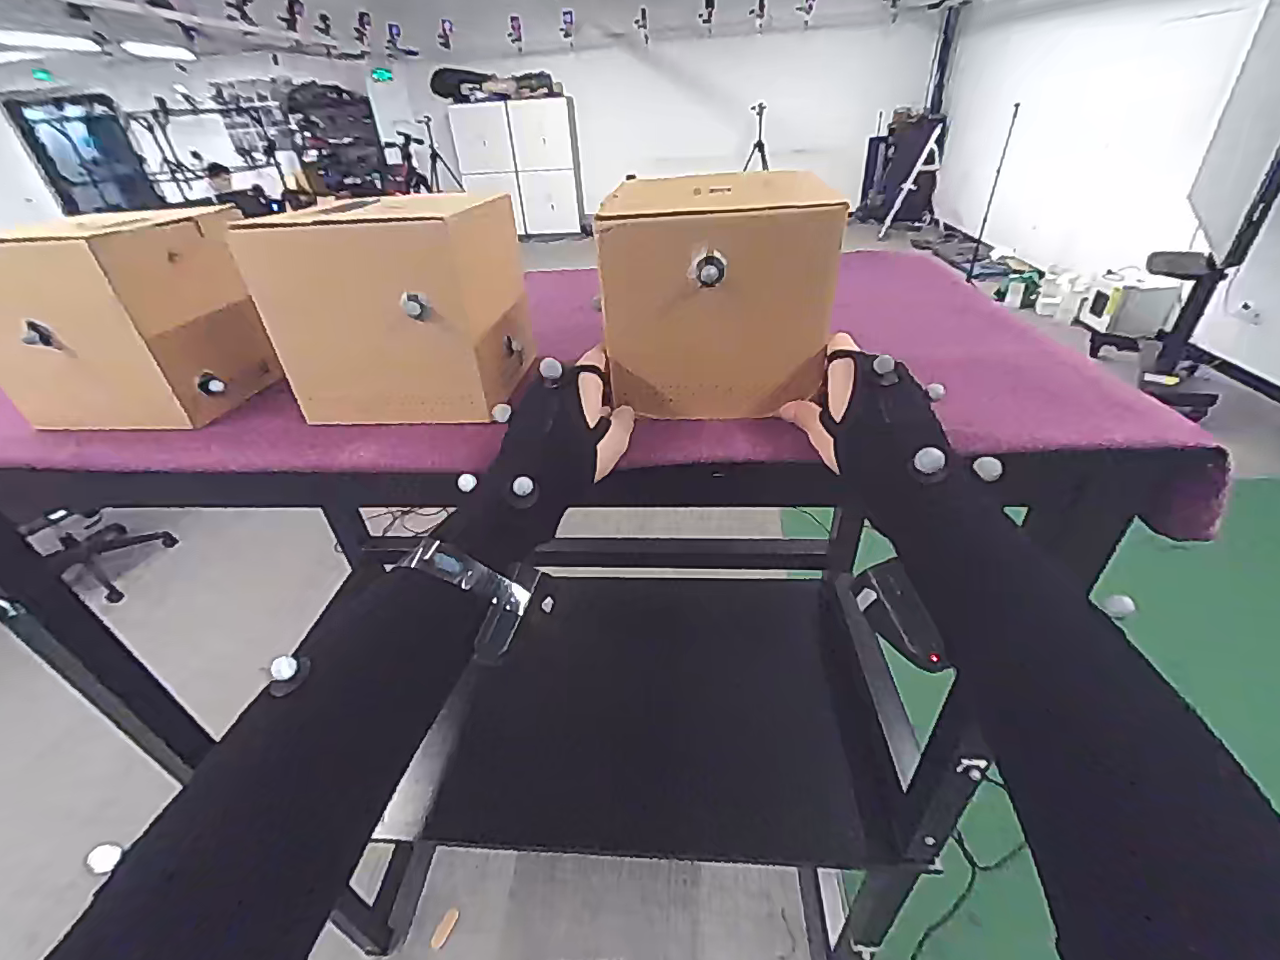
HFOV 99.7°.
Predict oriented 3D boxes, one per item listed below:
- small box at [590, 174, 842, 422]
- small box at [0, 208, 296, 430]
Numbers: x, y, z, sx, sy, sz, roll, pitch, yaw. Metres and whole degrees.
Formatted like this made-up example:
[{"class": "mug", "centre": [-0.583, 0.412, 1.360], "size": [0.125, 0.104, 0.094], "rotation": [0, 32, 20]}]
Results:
[{"class": "small box", "centre": [0.064, -0.161, 0.478], "size": [0.179, 0.176, 0.168], "rotation": [1, 36, 7]}, {"class": "small box", "centre": [-0.487, -0.157, 0.529], "size": [0.179, 0.176, 0.168], "rotation": [0, 34, 7]}]
